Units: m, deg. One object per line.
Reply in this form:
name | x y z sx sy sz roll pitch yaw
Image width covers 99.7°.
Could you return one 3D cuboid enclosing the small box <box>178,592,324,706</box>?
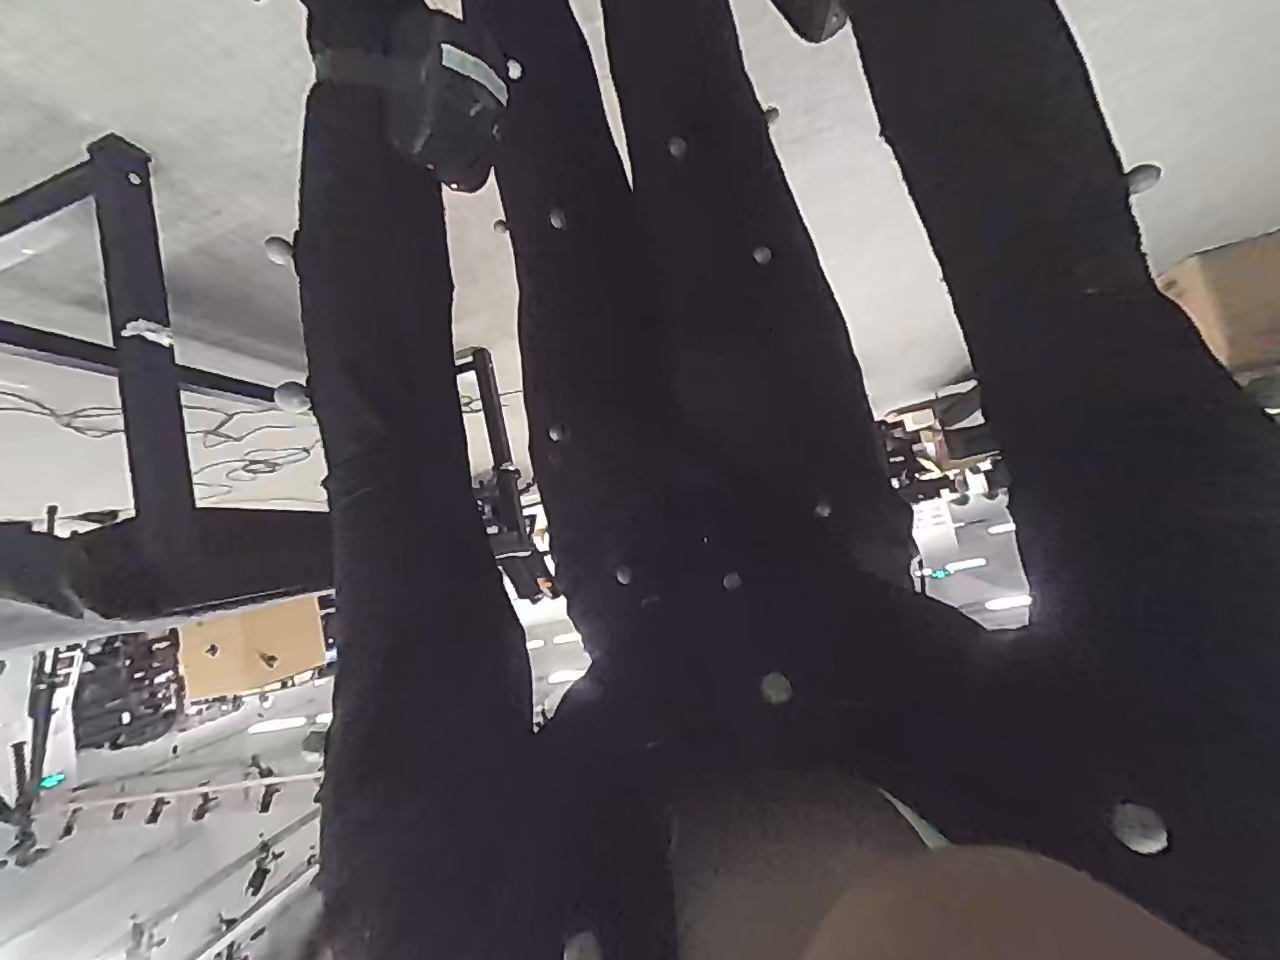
small box | -0.787 0.334 1.097 0.168 0.176 0.179 -14 174 14
